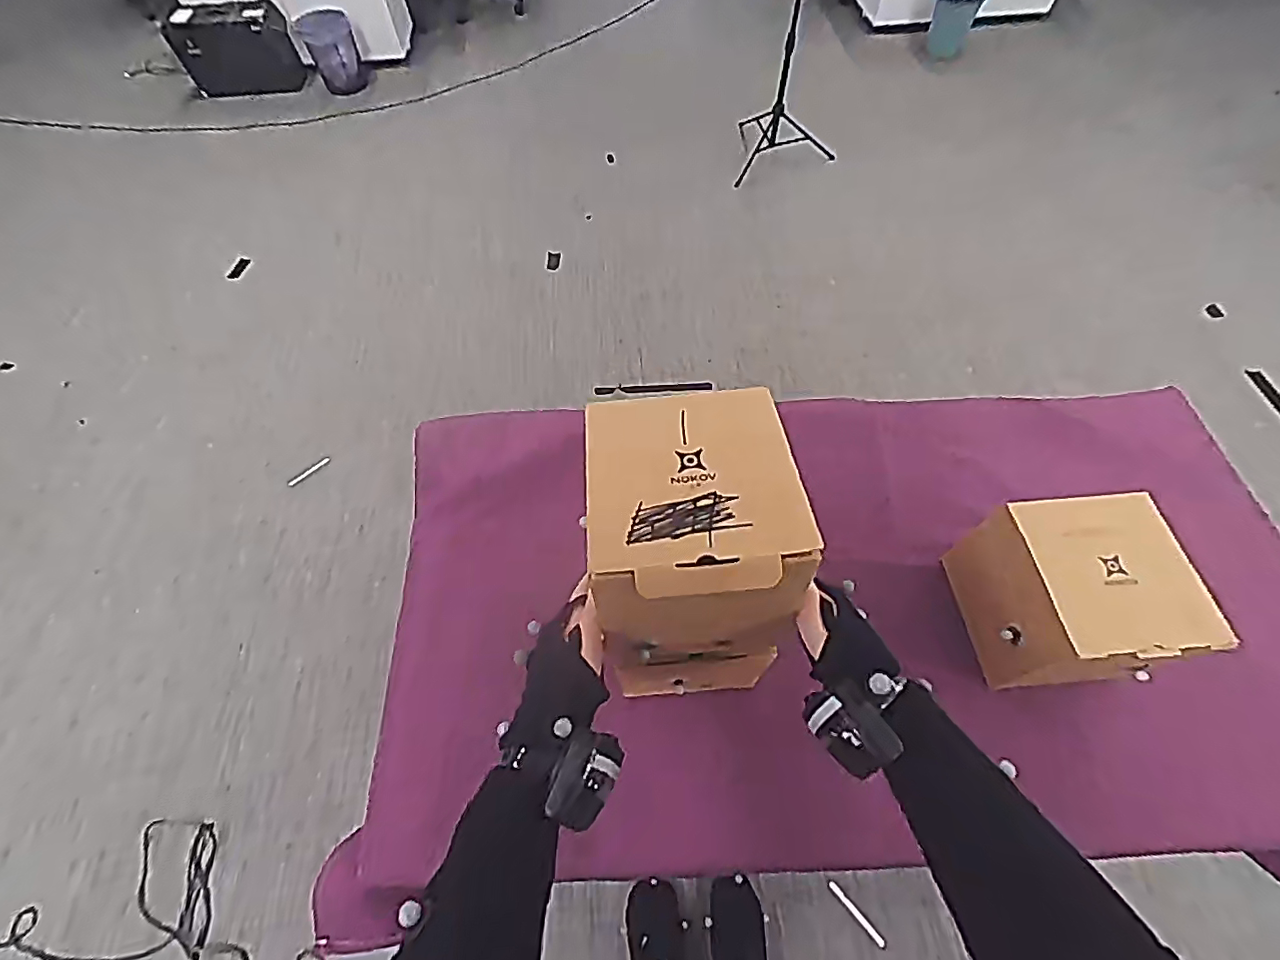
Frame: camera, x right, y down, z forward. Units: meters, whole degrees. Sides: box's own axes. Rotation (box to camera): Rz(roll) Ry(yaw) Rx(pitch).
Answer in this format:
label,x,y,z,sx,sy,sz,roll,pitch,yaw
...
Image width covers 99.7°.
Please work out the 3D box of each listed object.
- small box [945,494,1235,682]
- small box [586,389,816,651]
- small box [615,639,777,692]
label,x,y,z,sx,sy,sz,roll,pitch,yaw
small box,0.501,0.136,0.639,0.168,0.176,0.179,-4,60,-1
small box,0.043,0.044,0.491,0.168,0.176,0.179,-5,51,-1
small box,0.052,0.145,0.650,0.168,0.176,0.179,-5,61,-1
